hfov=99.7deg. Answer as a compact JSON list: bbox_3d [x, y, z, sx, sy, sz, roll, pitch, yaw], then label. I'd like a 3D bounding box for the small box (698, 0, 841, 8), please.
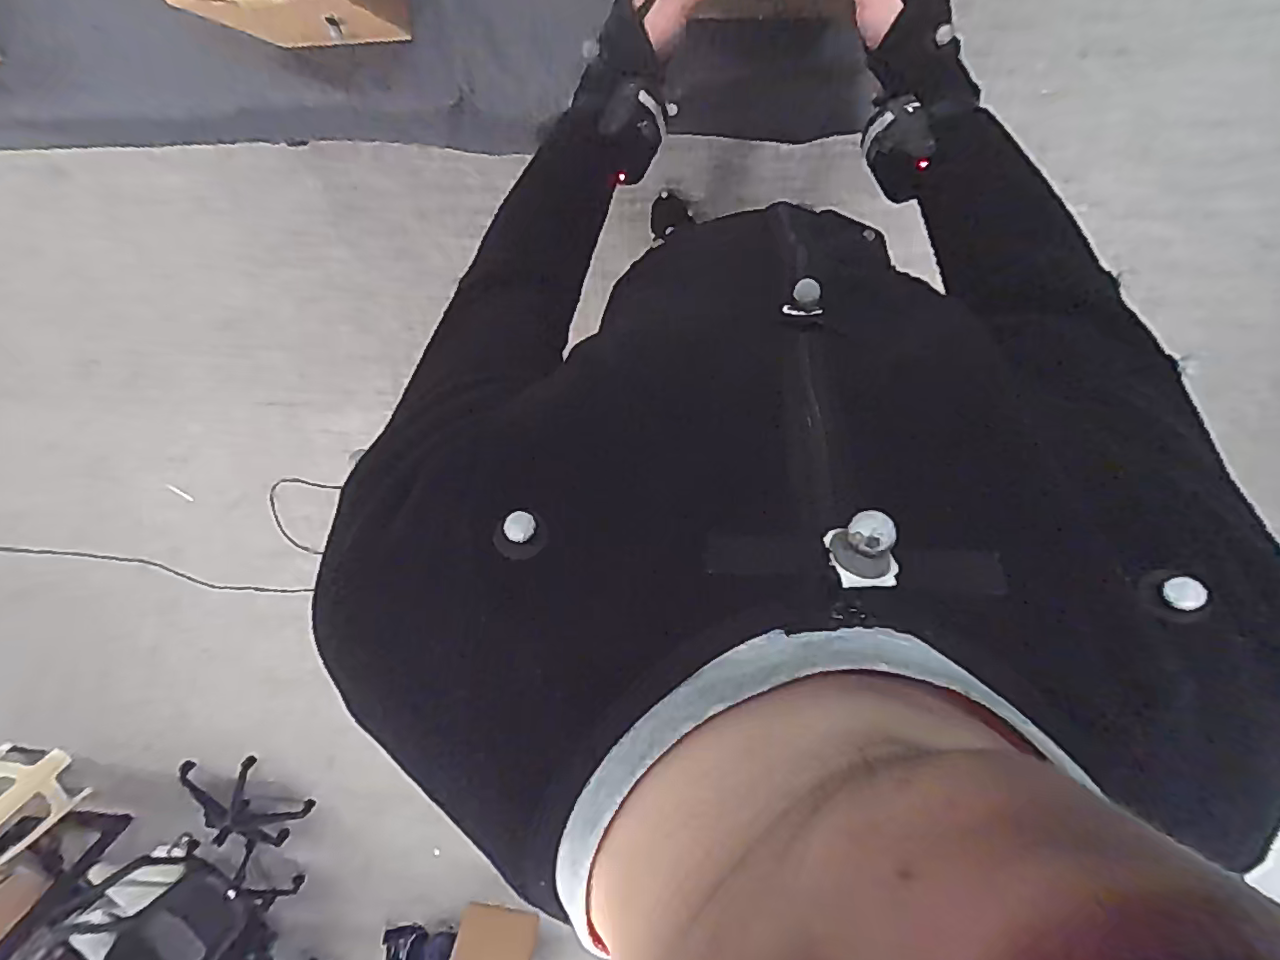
[{"bbox_3d":[0.121,-0.533,0.461,0.168,0.176,0.179,5,119,6],"label":"small box"}]

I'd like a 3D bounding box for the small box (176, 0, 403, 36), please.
[{"bbox_3d":[-0.350,-0.548,0.510,0.168,0.176,0.179,0,116,4],"label":"small box"}]
